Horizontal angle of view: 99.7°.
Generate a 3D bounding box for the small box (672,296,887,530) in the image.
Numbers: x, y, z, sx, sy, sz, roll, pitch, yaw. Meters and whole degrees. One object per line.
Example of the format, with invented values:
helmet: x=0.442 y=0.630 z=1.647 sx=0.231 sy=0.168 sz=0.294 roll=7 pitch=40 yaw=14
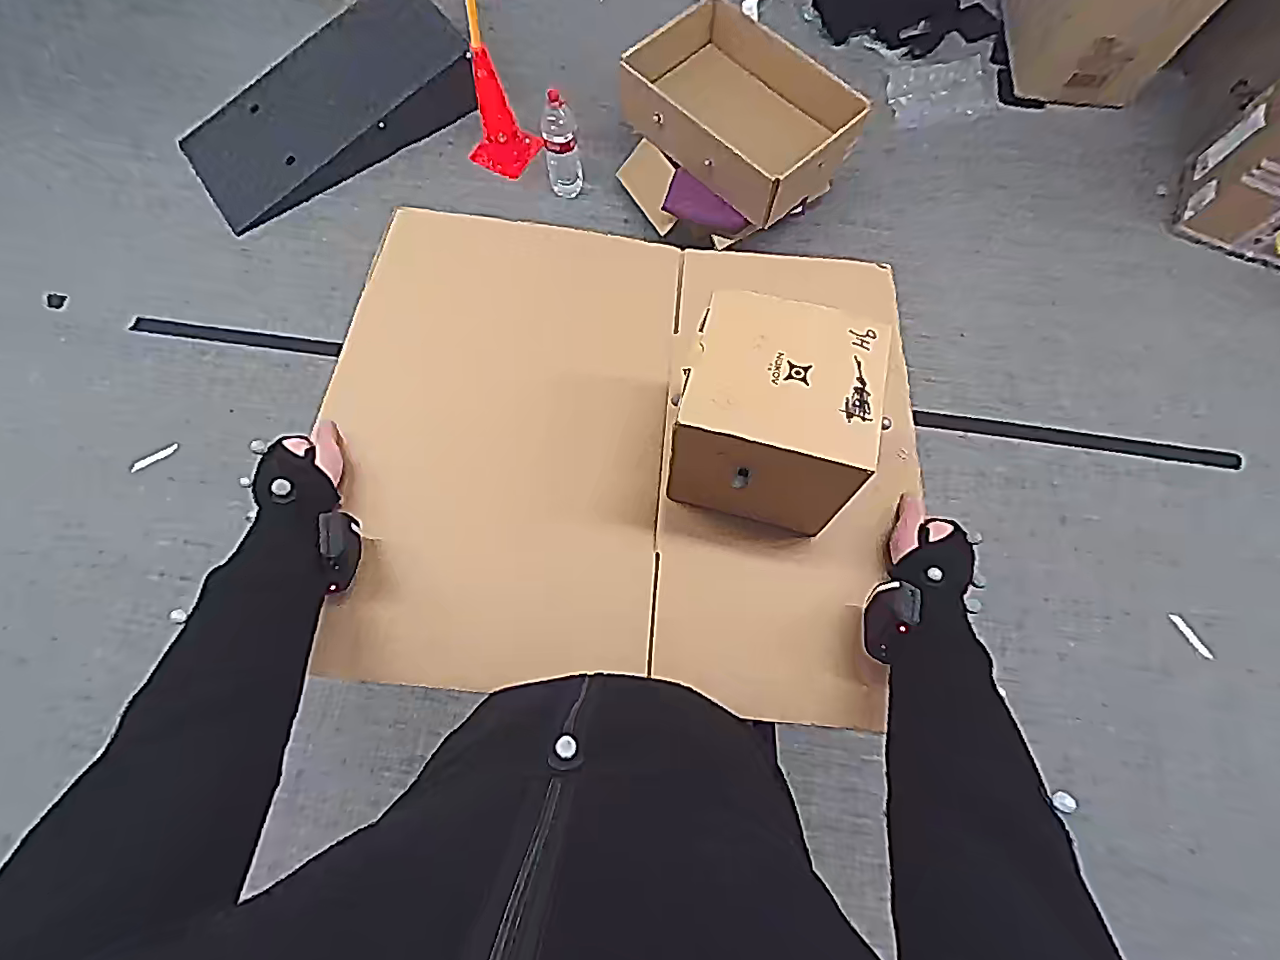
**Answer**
small box: x=0.136 y=-0.061 z=0.574 sx=0.179 sy=0.176 sz=0.168 roll=14 pitch=67 yaw=7
